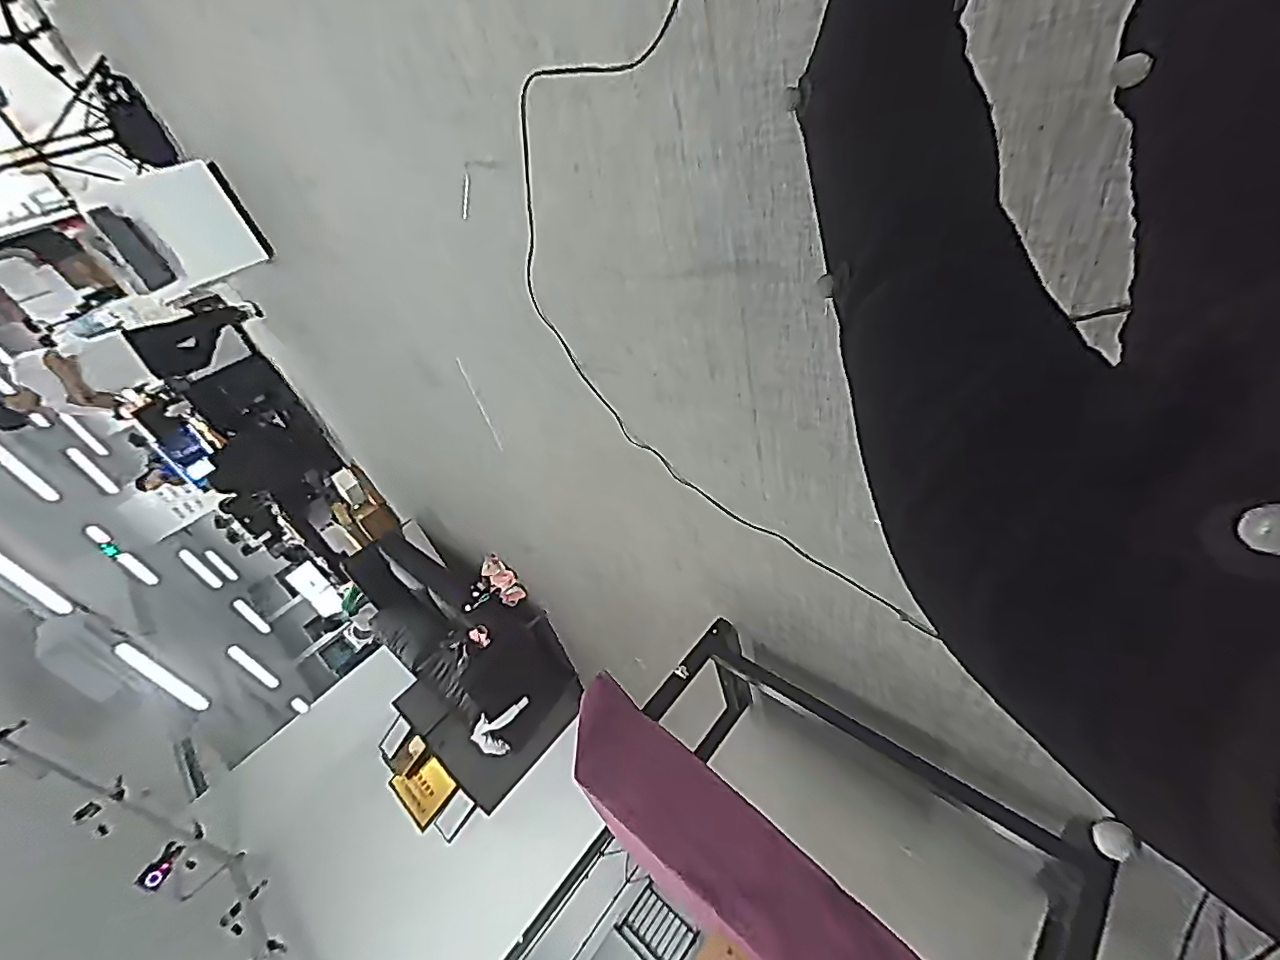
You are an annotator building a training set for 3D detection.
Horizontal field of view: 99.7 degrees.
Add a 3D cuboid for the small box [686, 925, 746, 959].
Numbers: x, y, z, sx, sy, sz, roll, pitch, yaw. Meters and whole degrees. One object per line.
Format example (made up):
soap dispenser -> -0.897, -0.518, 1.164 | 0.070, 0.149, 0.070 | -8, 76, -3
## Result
small box -> 0.217, 1.342, 1.428 | 0.168, 0.176, 0.179 | 14, 135, 45
